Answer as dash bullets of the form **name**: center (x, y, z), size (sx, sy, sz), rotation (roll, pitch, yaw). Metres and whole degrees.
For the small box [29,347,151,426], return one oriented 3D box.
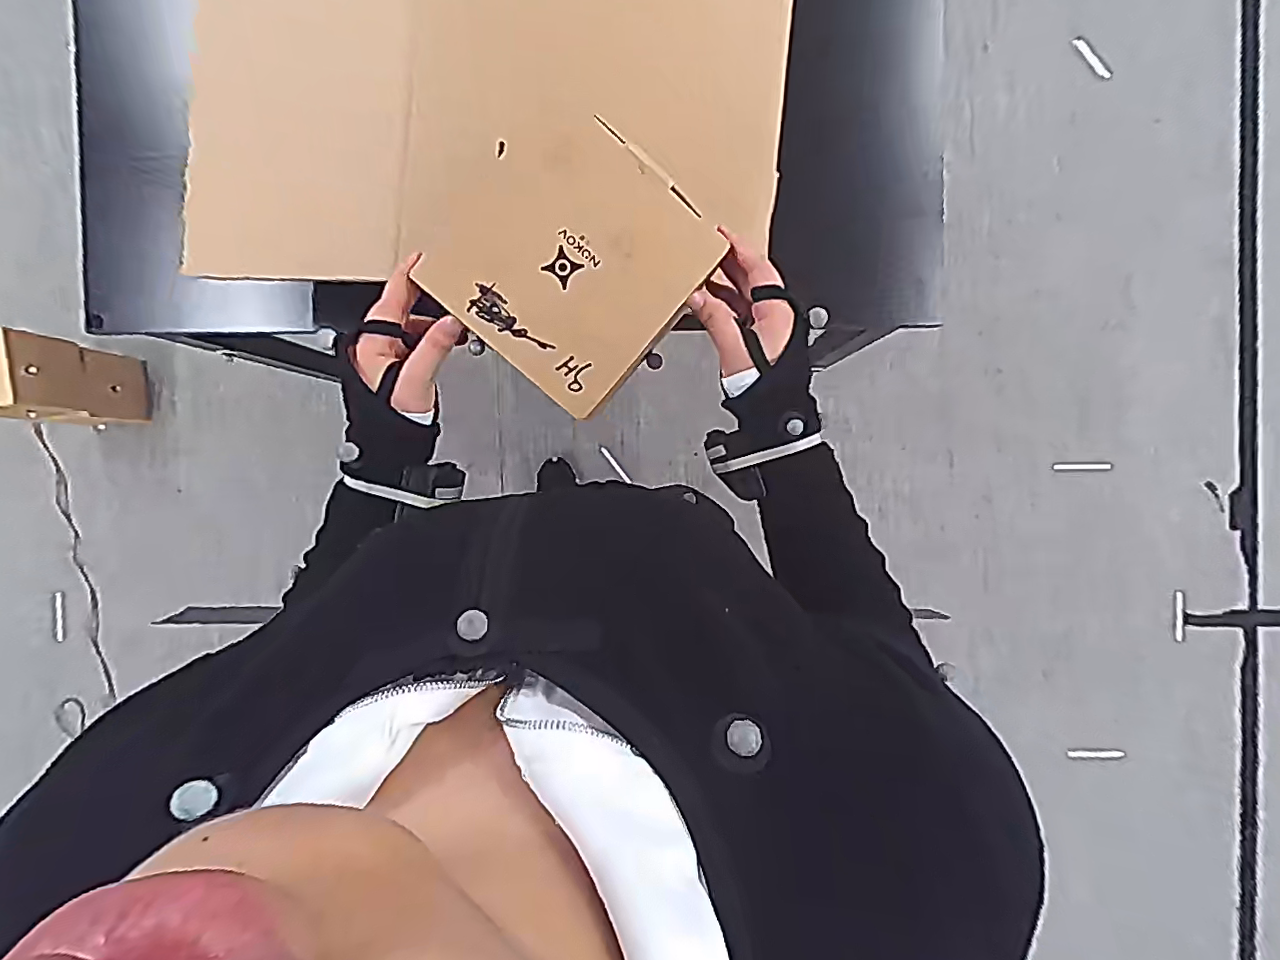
- **small box**: center (-1.444, -0.240, 1.421), size (0.168, 0.176, 0.179), rotation (-4, 92, 1)

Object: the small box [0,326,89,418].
- **small box**: center (-1.448, -0.242, 1.259), size (0.168, 0.176, 0.179), rotation (-8, 90, 0)
